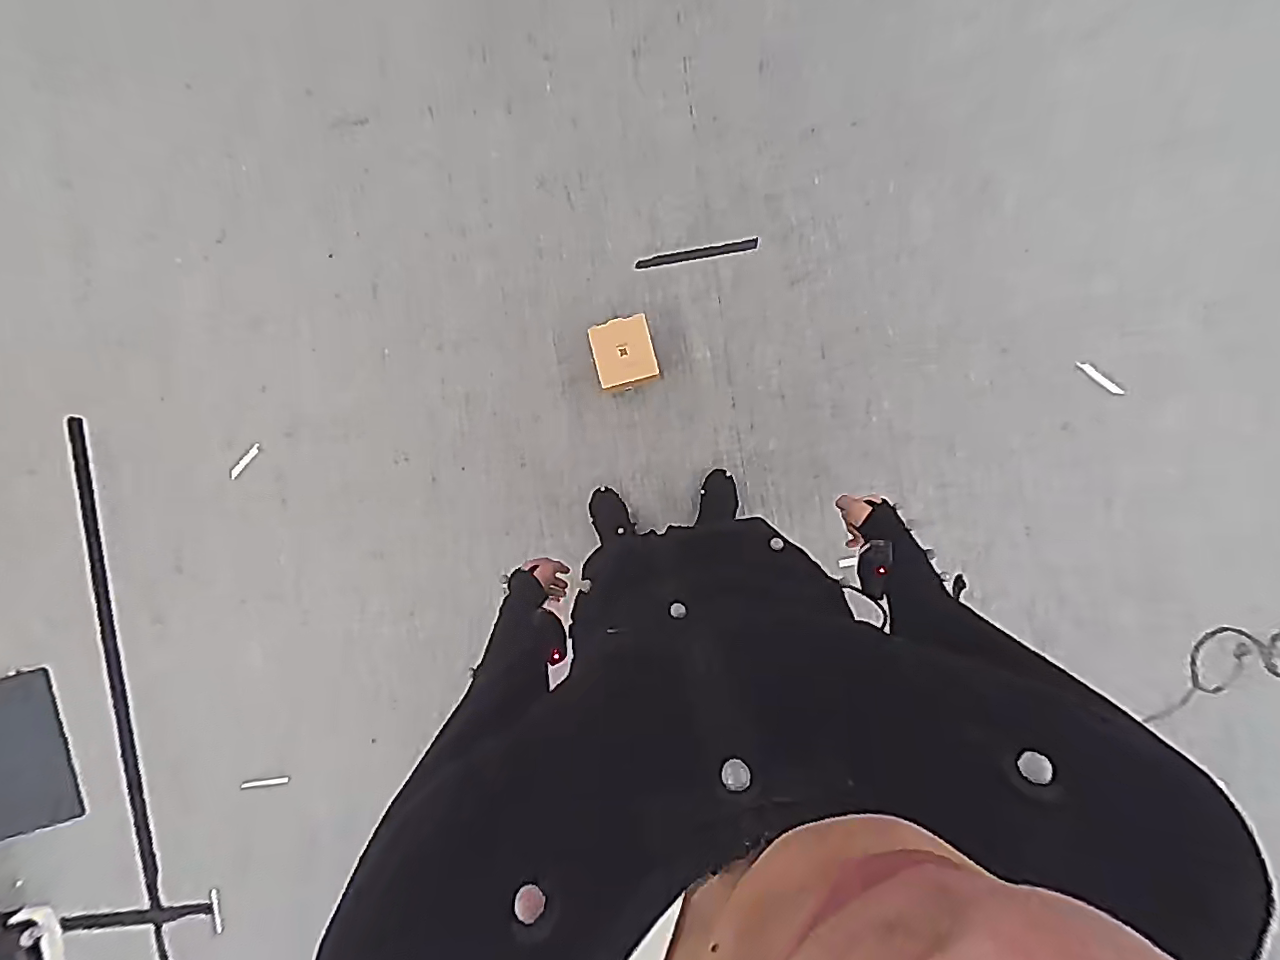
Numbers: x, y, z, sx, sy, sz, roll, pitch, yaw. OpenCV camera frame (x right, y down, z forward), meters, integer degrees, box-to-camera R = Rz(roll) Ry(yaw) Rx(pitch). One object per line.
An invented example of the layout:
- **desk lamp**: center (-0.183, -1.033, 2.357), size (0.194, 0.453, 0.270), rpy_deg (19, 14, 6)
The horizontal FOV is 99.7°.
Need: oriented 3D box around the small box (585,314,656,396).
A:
- **small box**: center (-0.053, -0.355, 1.564), size (0.168, 0.176, 0.179), rpy_deg (-14, 91, 2)
